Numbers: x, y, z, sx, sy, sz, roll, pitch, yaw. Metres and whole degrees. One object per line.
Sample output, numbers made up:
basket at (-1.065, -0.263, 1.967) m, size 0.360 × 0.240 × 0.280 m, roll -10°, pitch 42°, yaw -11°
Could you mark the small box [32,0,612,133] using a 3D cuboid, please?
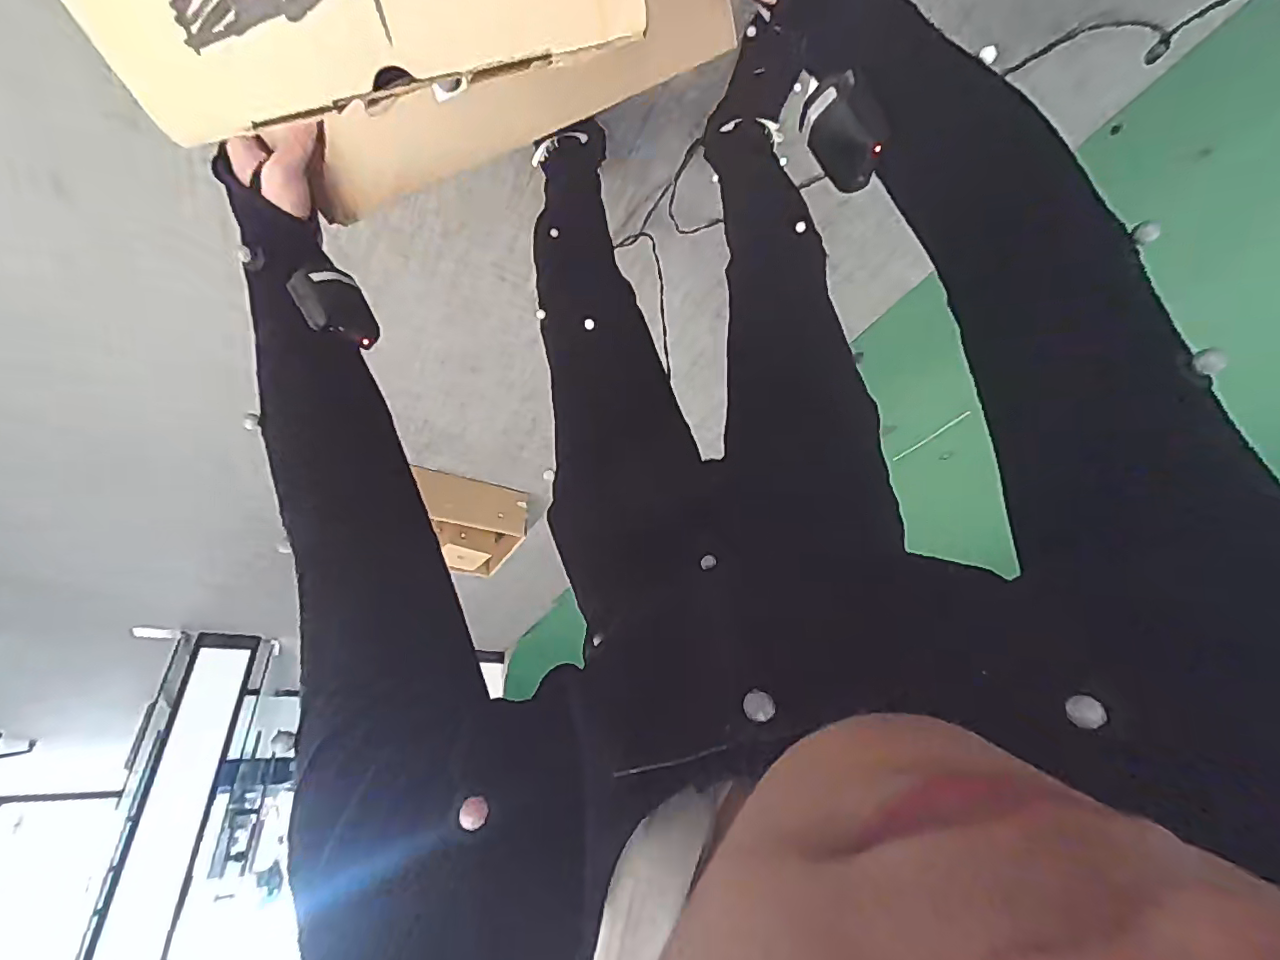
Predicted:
small box at (-0.100, -0.239, 0.159) m, size 0.168 × 0.176 × 0.179 m, roll -8°, pitch 137°, yaw 7°
